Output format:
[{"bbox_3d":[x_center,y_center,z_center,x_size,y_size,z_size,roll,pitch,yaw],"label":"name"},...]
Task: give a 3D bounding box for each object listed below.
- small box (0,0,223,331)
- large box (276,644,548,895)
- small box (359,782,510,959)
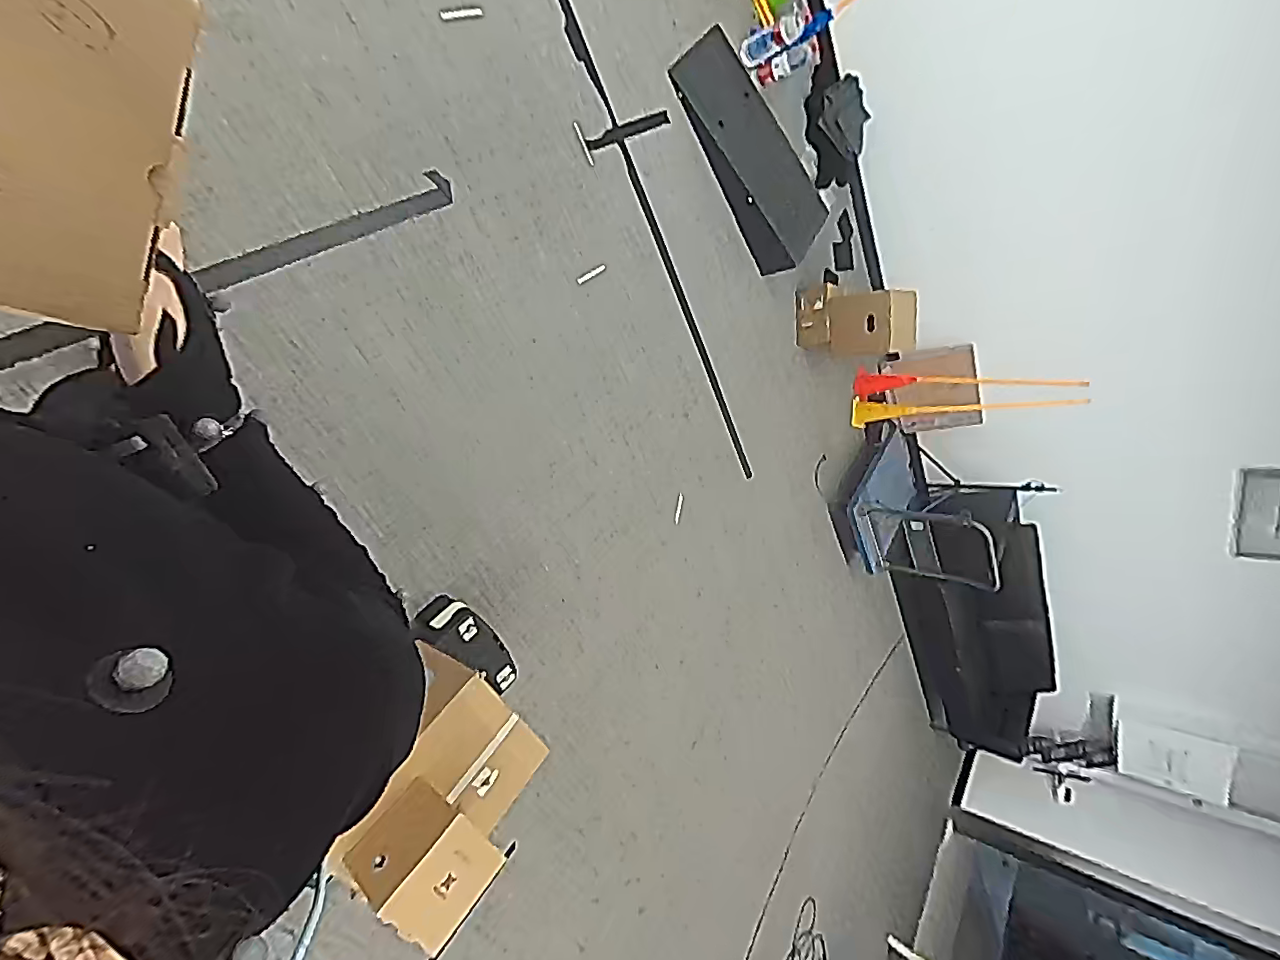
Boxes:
[{"bbox_3d":[-0.327,-0.191,0.233,0.179,0.176,0.168,4,118,-55],"label":"small box"},{"bbox_3d":[-0.495,0.648,1.209,0.408,0.320,0.320,-49,124,-33],"label":"large box"},{"bbox_3d":[-0.378,0.698,0.980,0.179,0.176,0.168,-45,121,-35],"label":"small box"}]
